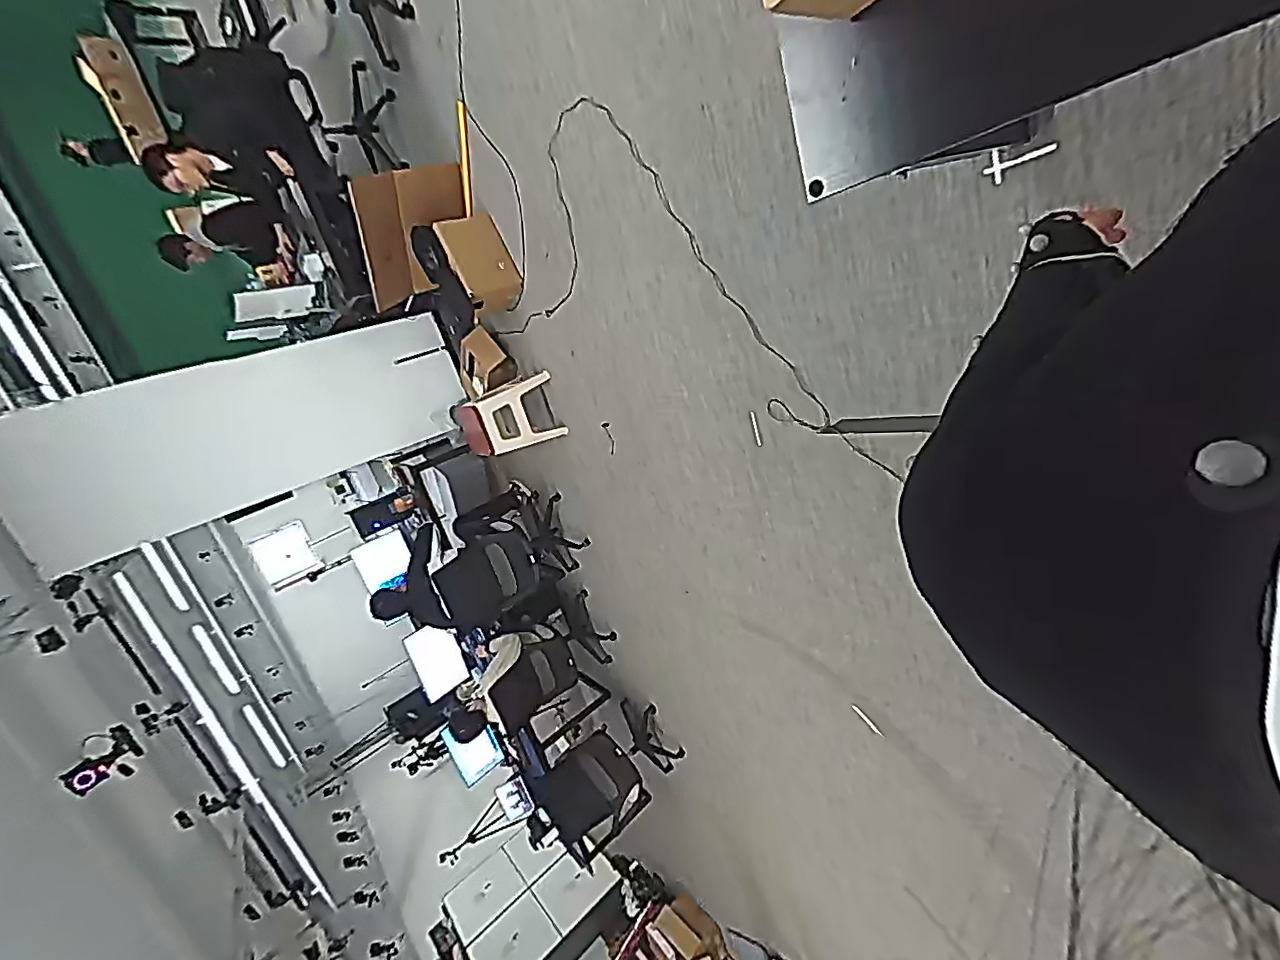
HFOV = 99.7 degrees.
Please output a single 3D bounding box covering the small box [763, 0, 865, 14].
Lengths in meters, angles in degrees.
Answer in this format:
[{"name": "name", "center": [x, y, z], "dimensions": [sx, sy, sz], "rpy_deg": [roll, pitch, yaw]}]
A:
[{"name": "small box", "center": [0.220, -0.612, 0.536], "dimensions": [0.179, 0.176, 0.168], "rpy_deg": [1, 114, 52]}]
